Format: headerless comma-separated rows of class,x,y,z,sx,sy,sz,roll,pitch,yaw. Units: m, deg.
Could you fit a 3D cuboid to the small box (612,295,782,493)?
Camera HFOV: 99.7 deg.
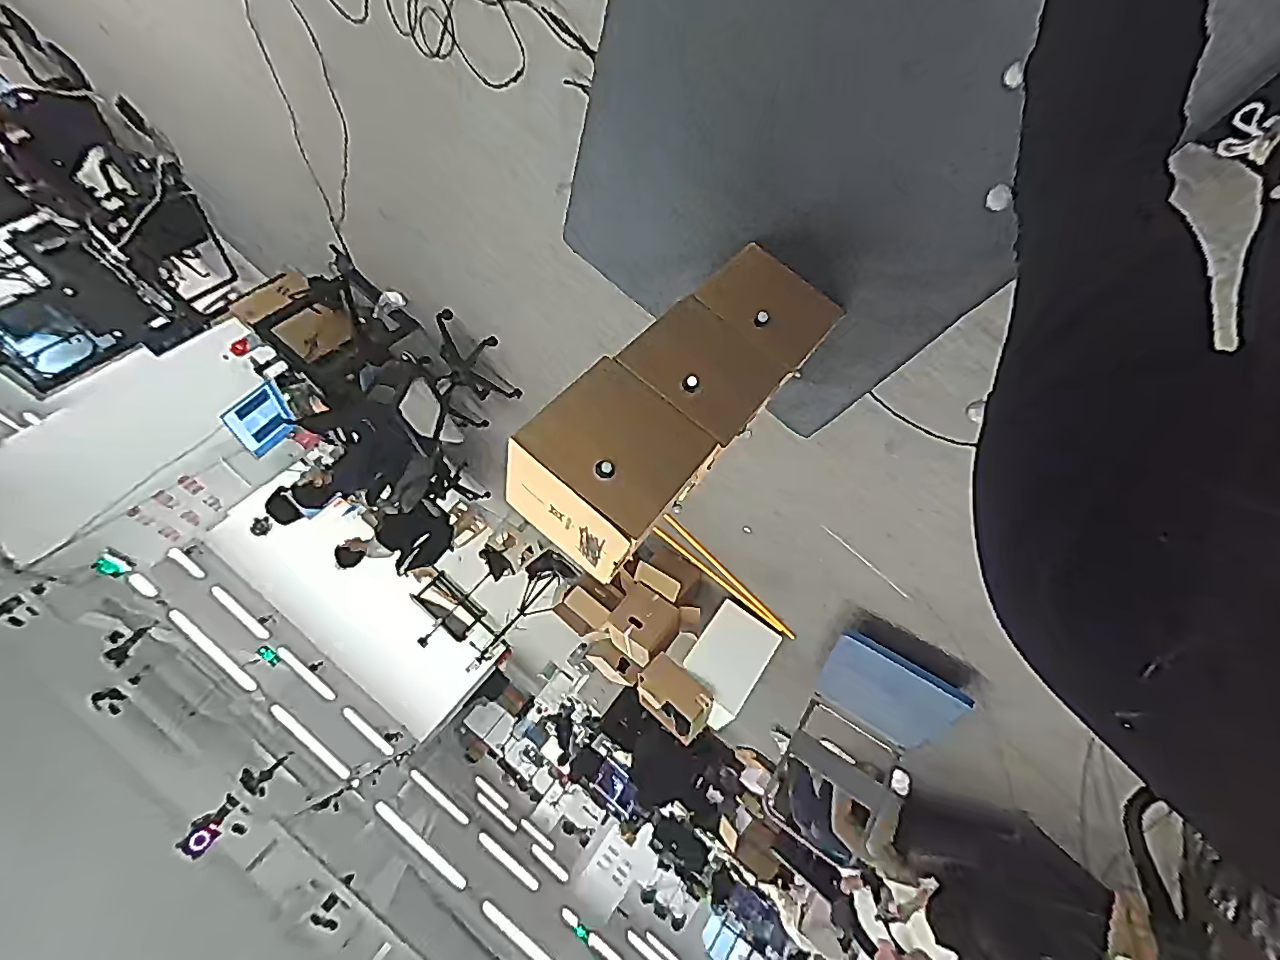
small box,0.063,-0.119,0.745,0.179,0.176,0.168,40,151,5

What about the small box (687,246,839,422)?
small box,0.161,-0.223,0.822,0.179,0.176,0.168,40,152,5

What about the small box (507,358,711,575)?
small box,-0.041,-0.017,0.669,0.179,0.176,0.168,40,151,6
